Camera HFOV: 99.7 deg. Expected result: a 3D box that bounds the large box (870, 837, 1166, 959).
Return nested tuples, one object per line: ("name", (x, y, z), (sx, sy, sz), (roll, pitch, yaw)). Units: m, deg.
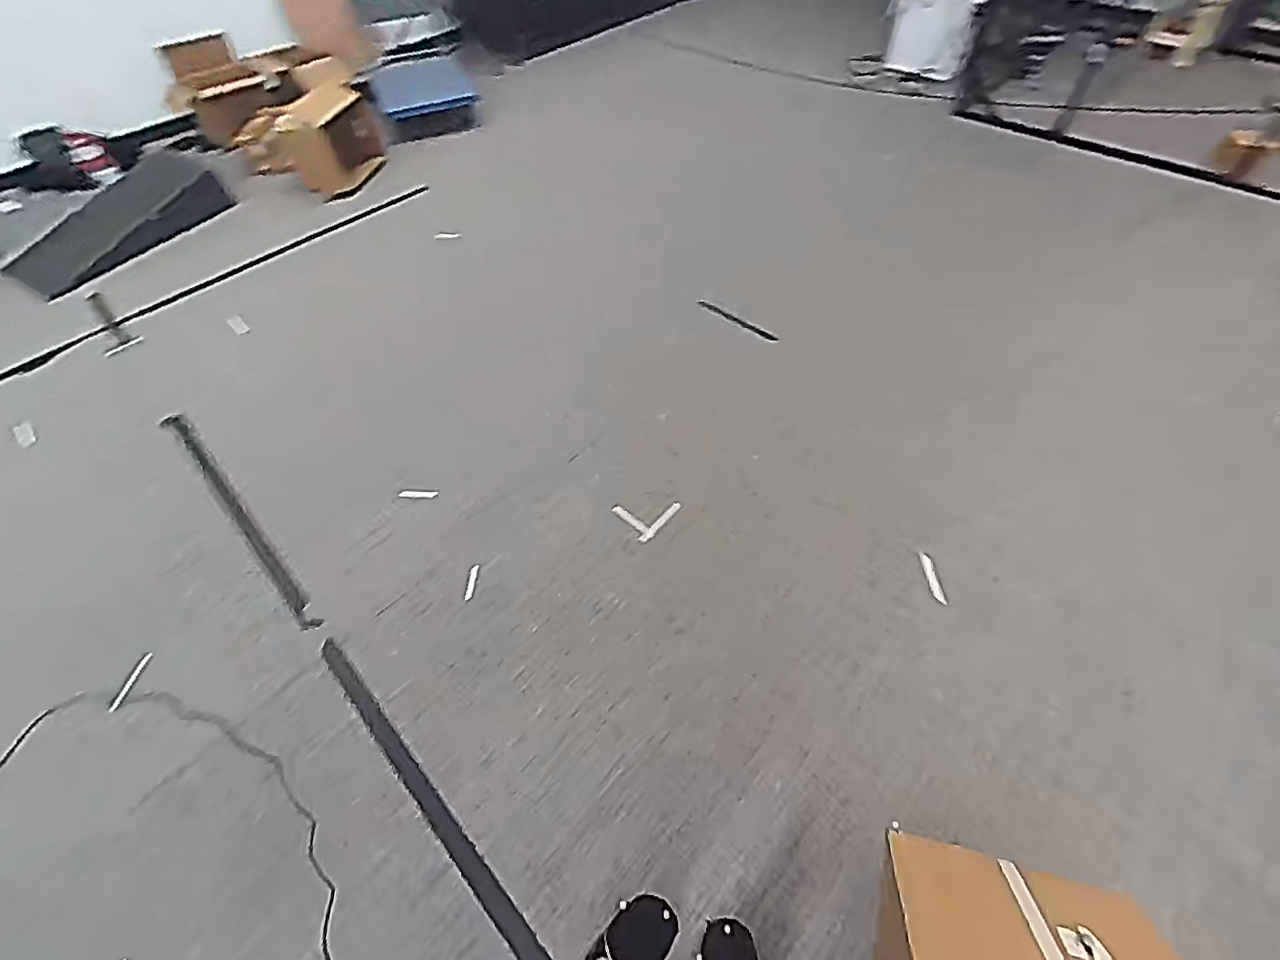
("large box", (0.448, 0.710, 0.602), (0.320, 0.408, 0.320), (7, 91, 16))
